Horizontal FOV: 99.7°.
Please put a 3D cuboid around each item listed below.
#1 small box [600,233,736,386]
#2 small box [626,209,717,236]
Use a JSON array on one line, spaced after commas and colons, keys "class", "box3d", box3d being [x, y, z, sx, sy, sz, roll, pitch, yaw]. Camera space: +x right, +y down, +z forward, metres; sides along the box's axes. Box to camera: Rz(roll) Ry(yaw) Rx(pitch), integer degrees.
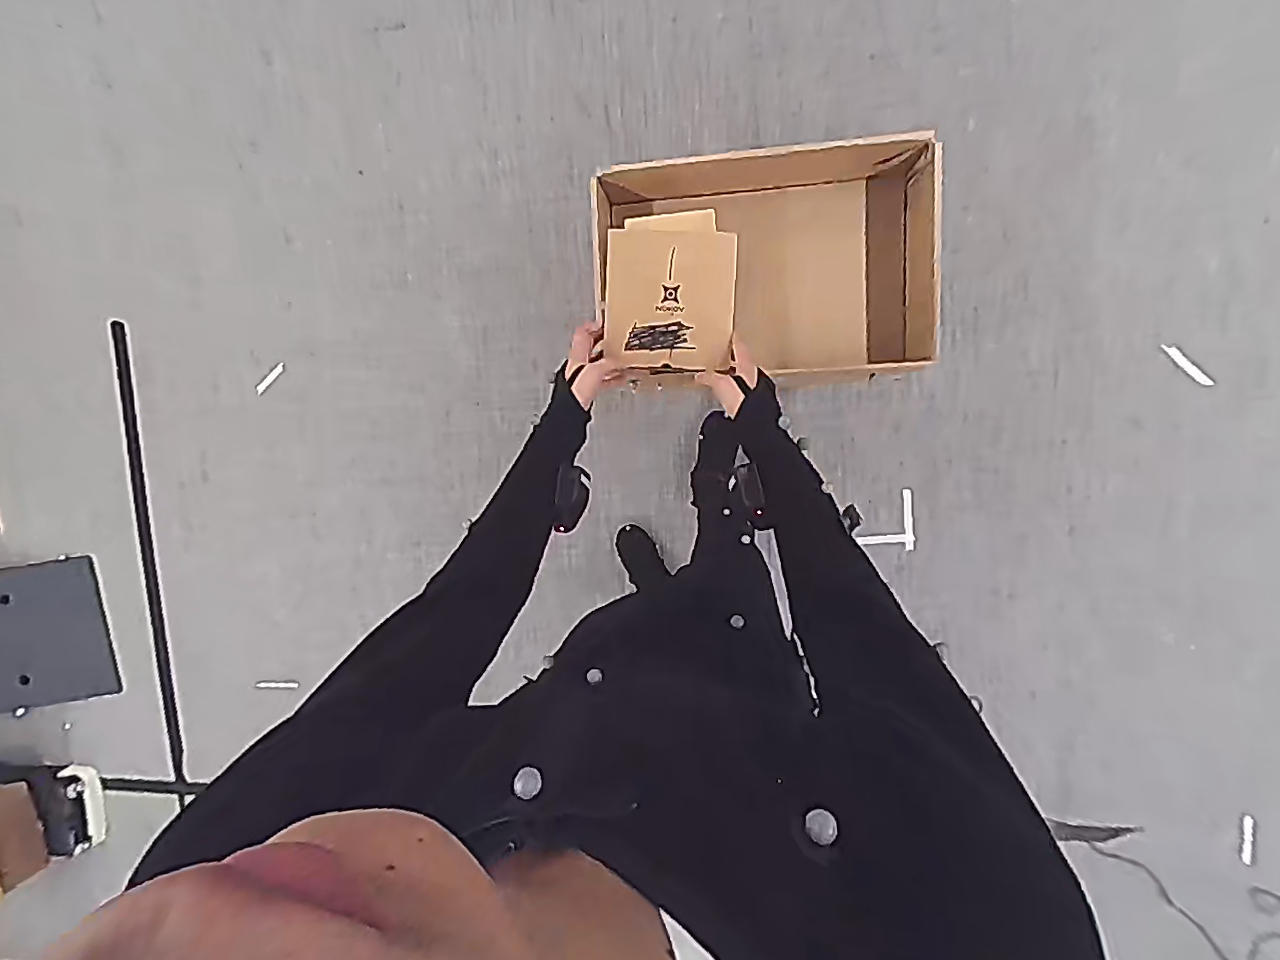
[{"class": "small box", "box3d": [0.039, -0.226, 0.760, 0.168, 0.176, 0.179, 3, 95, 3]}, {"class": "small box", "box3d": [0.069, -0.398, 1.052, 0.168, 0.176, 0.179, -3, 95, 8]}]
